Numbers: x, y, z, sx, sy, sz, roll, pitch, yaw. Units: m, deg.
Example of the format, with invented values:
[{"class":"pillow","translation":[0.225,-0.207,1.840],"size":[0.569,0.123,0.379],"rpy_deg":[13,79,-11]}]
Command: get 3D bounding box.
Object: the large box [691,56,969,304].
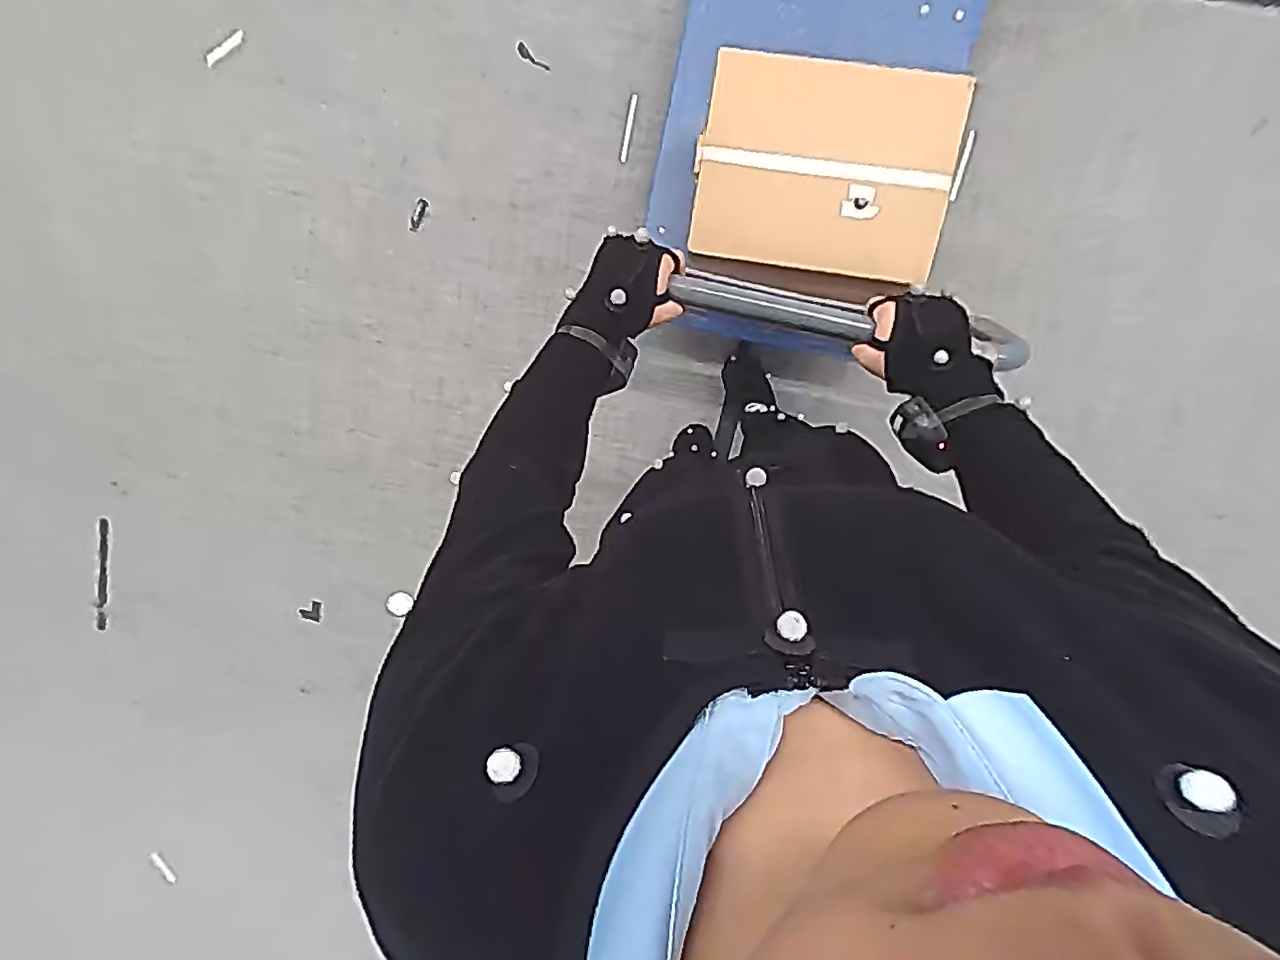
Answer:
[{"class":"large box","translation":[0.318,-0.539,1.041],"size":[0.408,0.320,0.320],"rpy_deg":[9,102,3]}]
